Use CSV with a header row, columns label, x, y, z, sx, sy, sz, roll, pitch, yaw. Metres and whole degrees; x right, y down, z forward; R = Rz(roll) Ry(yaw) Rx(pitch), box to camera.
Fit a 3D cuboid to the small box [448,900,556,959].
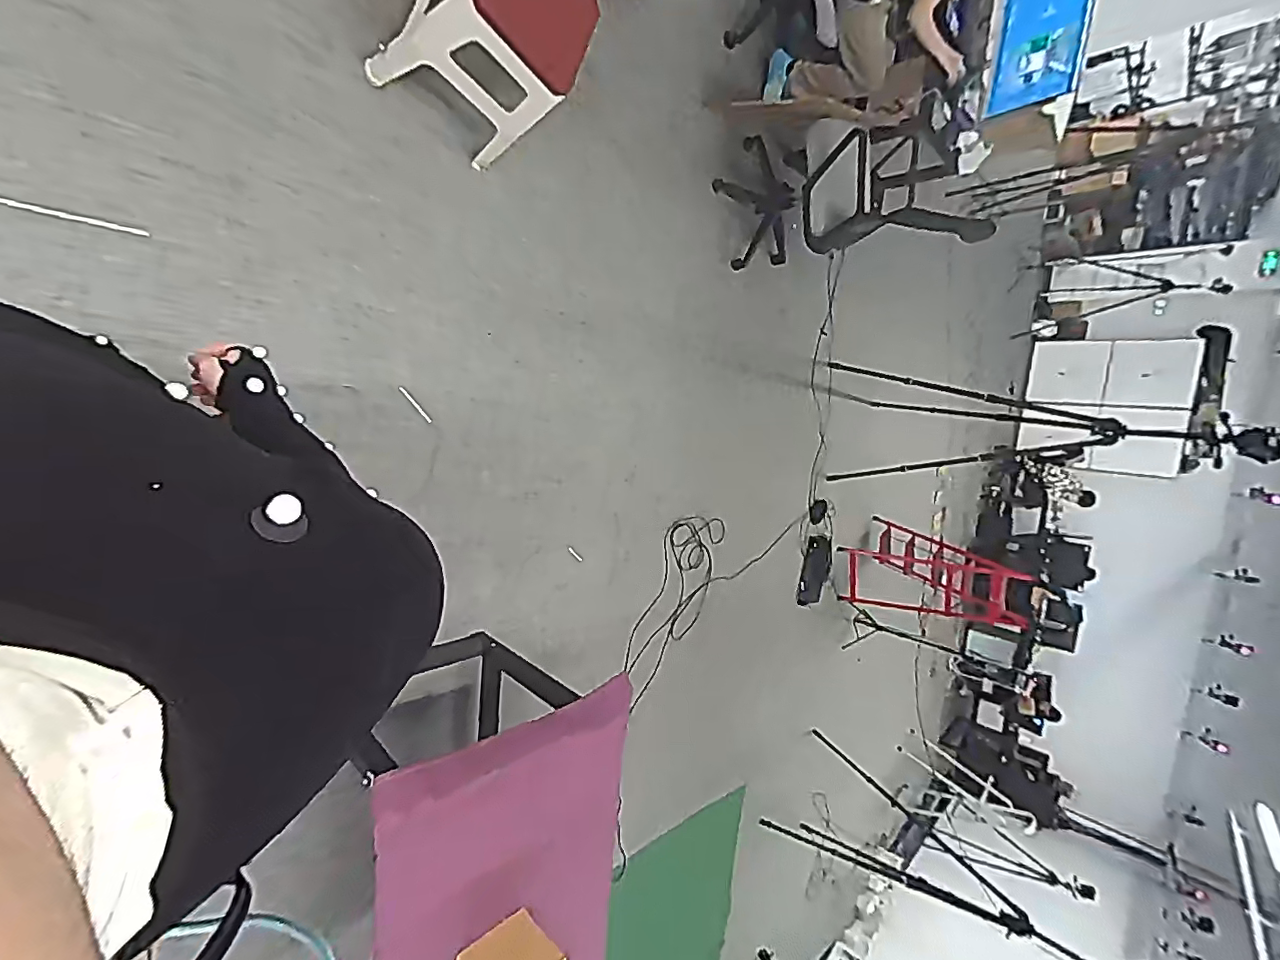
label,x,y,z,sx,sy,sz,roll,pitch,yaw
small box,-0.312,1.106,1.211,0.179,0.176,0.168,-4,102,-46
